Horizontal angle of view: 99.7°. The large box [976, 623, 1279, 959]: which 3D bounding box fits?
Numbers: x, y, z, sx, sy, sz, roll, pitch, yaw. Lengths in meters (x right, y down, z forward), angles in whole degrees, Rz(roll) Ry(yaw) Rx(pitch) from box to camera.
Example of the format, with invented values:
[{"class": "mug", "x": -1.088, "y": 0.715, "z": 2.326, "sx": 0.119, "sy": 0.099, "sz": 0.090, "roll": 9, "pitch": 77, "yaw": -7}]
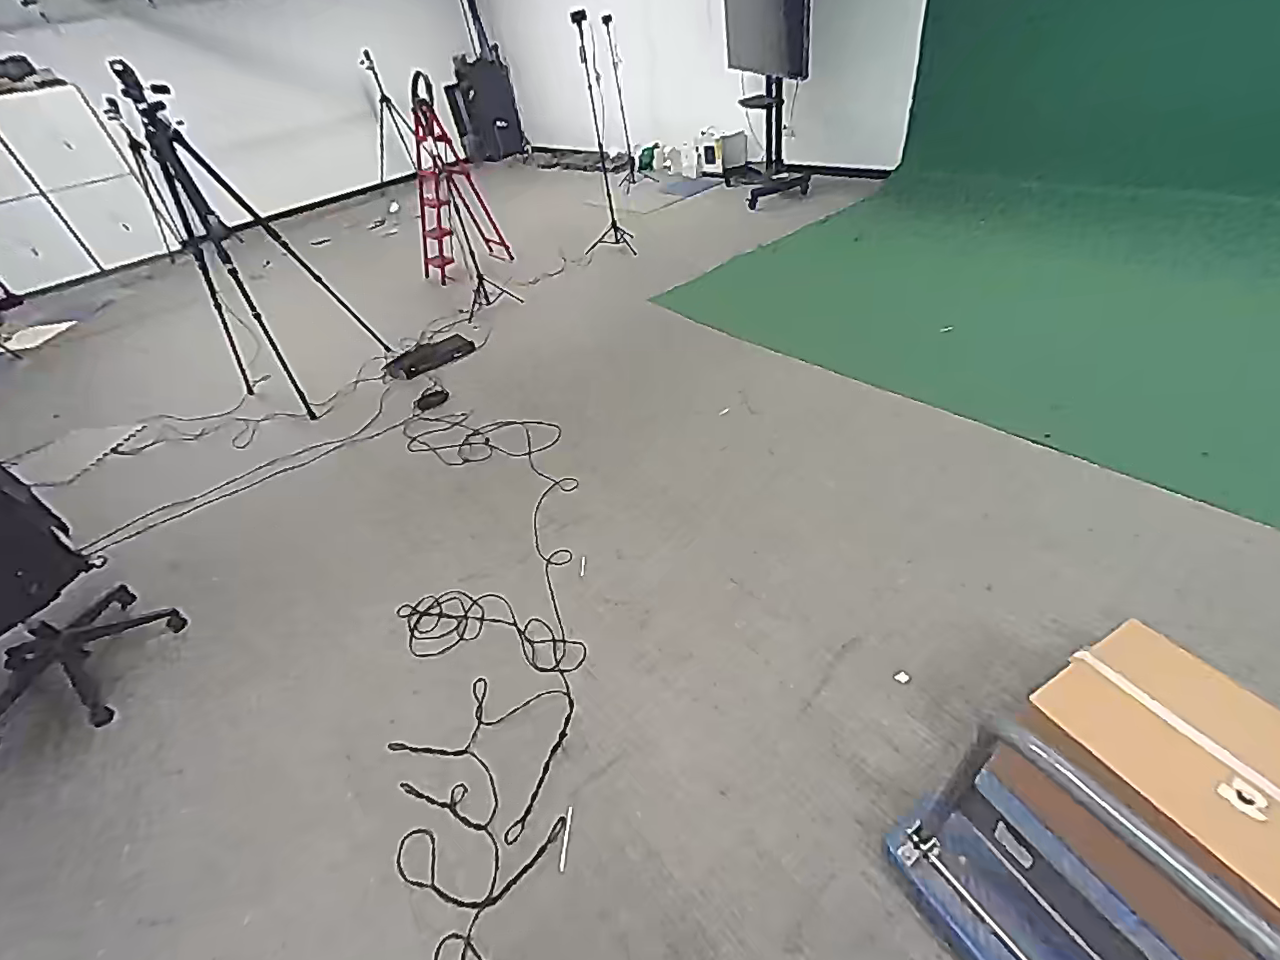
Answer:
[{"class": "large box", "x": 0.950, "y": 0.562, "z": 1.016, "sx": 0.320, "sy": 0.320, "sz": 0.408, "roll": -26, "pitch": 43, "yaw": -16}]
